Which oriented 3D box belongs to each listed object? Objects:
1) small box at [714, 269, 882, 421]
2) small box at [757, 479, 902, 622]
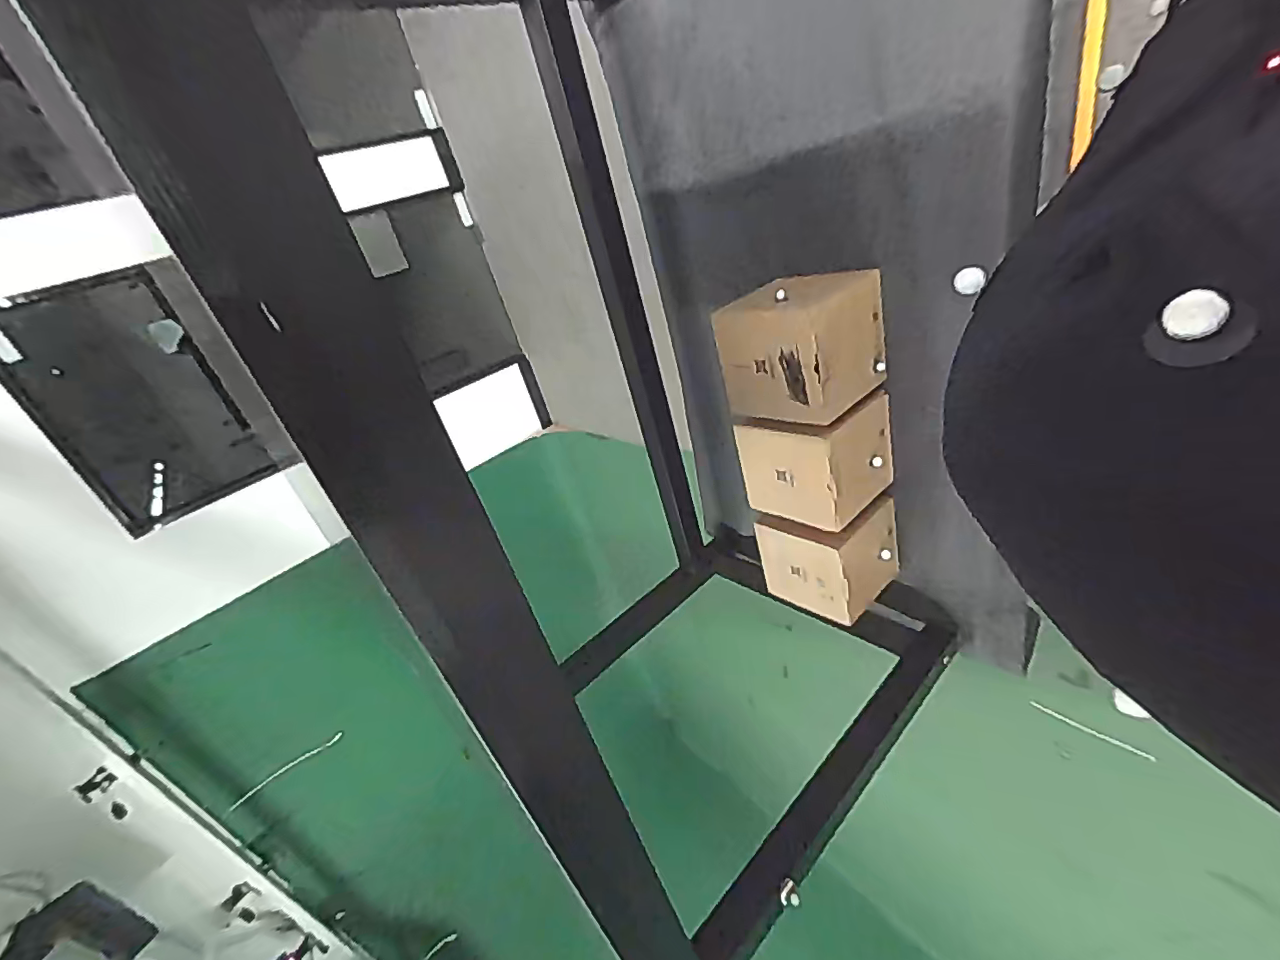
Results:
[{"bbox_3d":[0.244,-0.204,0.809,0.179,0.176,0.168,18,133,50],"label":"small box"},{"bbox_3d":[0.343,0.116,0.976,0.179,0.176,0.168,17,133,50],"label":"small box"}]
